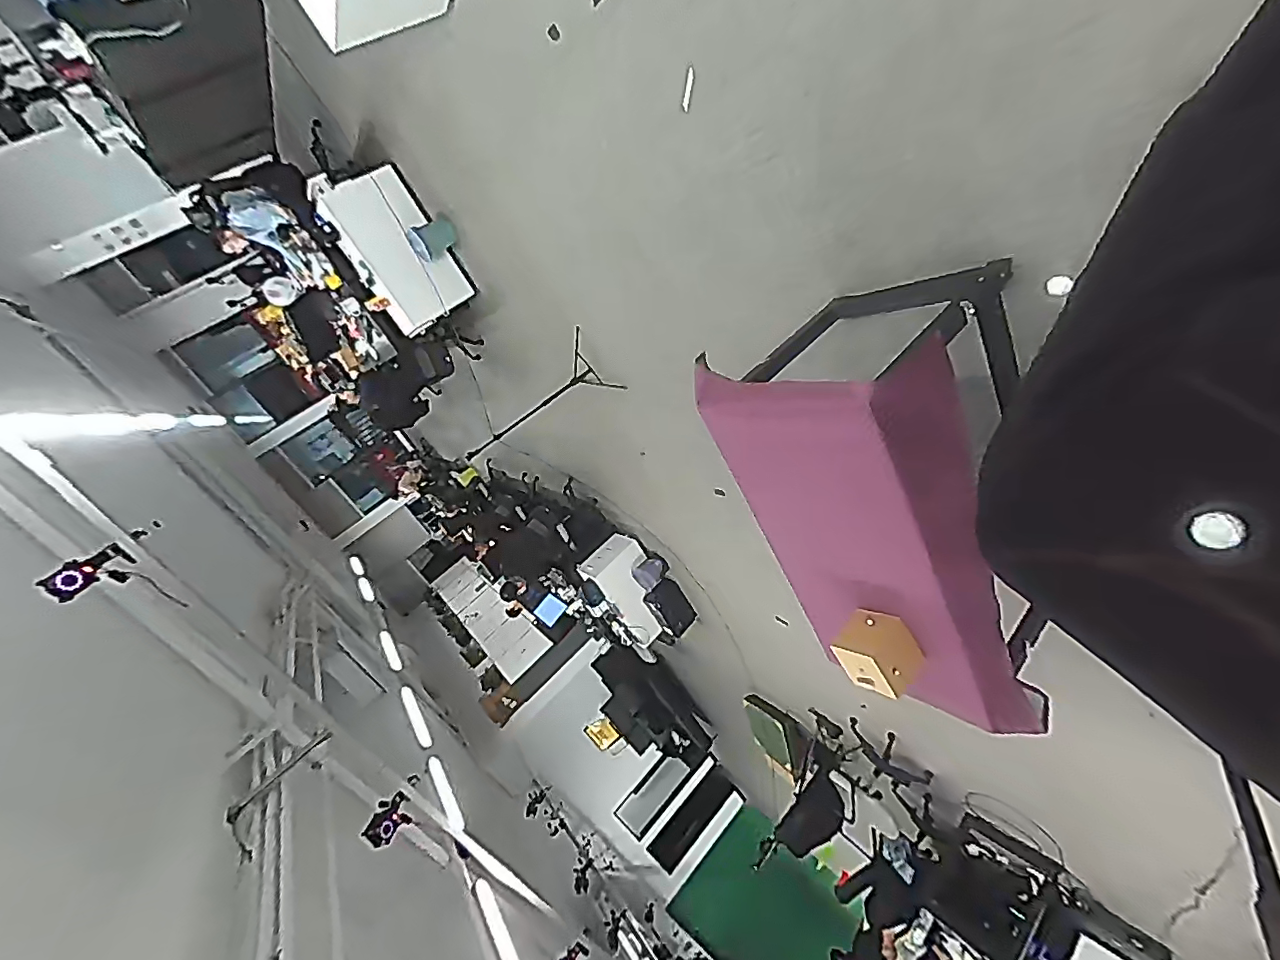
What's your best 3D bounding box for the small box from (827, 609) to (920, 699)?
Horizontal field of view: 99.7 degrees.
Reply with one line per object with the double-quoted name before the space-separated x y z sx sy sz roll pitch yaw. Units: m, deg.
"small box" 0.723 0.529 1.662 0.179 0.176 0.168 55 157 -14
